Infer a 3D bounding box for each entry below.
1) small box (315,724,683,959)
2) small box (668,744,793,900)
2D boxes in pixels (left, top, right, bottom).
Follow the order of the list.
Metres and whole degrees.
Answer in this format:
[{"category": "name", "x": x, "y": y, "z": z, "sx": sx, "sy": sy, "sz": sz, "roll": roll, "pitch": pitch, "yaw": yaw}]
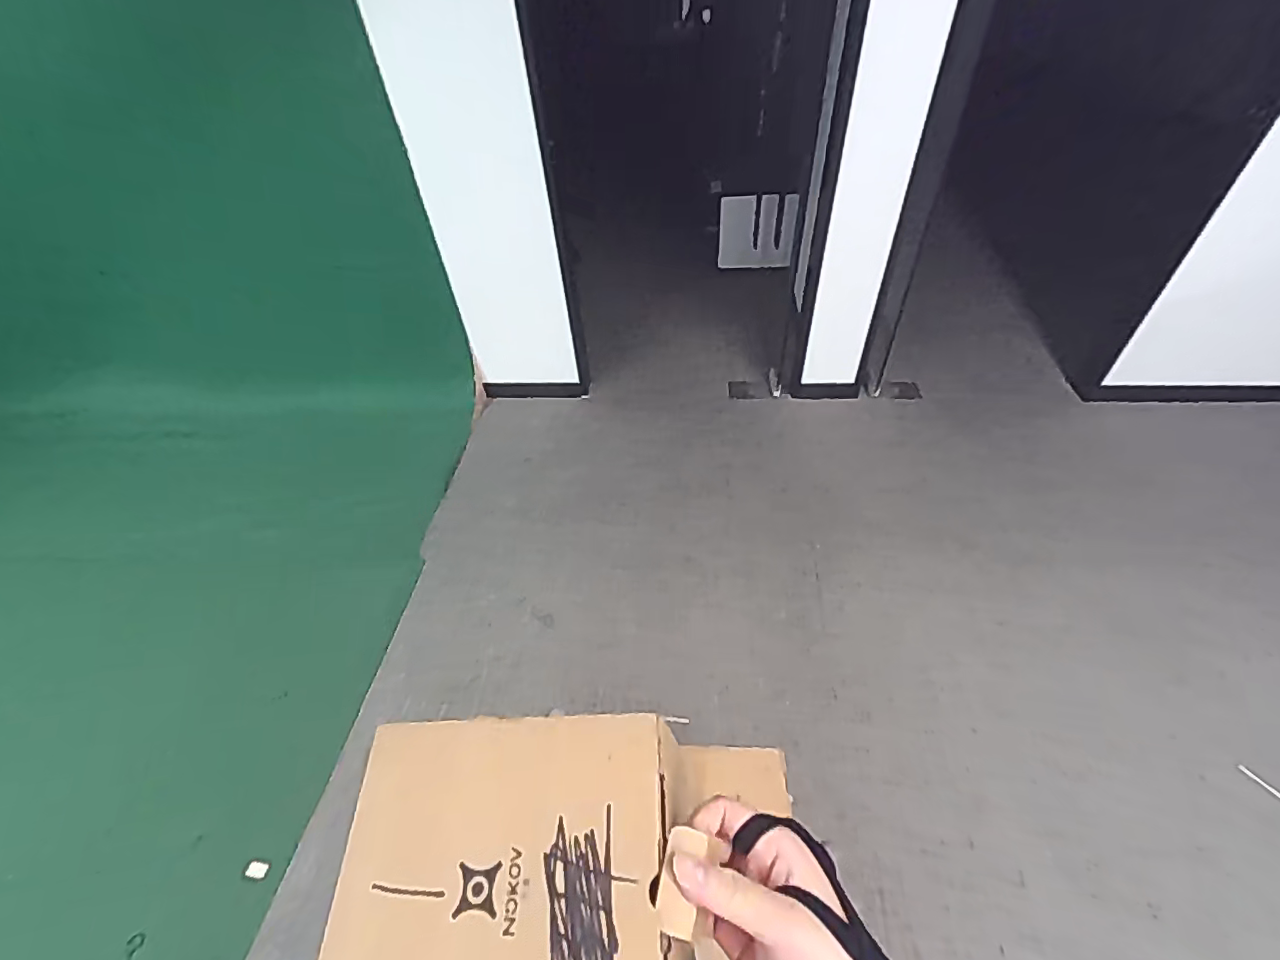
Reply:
[{"category": "small box", "x": -0.064, "y": 0.256, "z": 0.337, "sx": 0.179, "sy": 0.176, "sz": 0.168, "roll": -4, "pitch": 55, "yaw": 8}, {"category": "small box", "x": 0.128, "y": 0.525, "z": 0.828, "sx": 0.179, "sy": 0.176, "sz": 0.168, "roll": 0, "pitch": 45, "yaw": 7}]
